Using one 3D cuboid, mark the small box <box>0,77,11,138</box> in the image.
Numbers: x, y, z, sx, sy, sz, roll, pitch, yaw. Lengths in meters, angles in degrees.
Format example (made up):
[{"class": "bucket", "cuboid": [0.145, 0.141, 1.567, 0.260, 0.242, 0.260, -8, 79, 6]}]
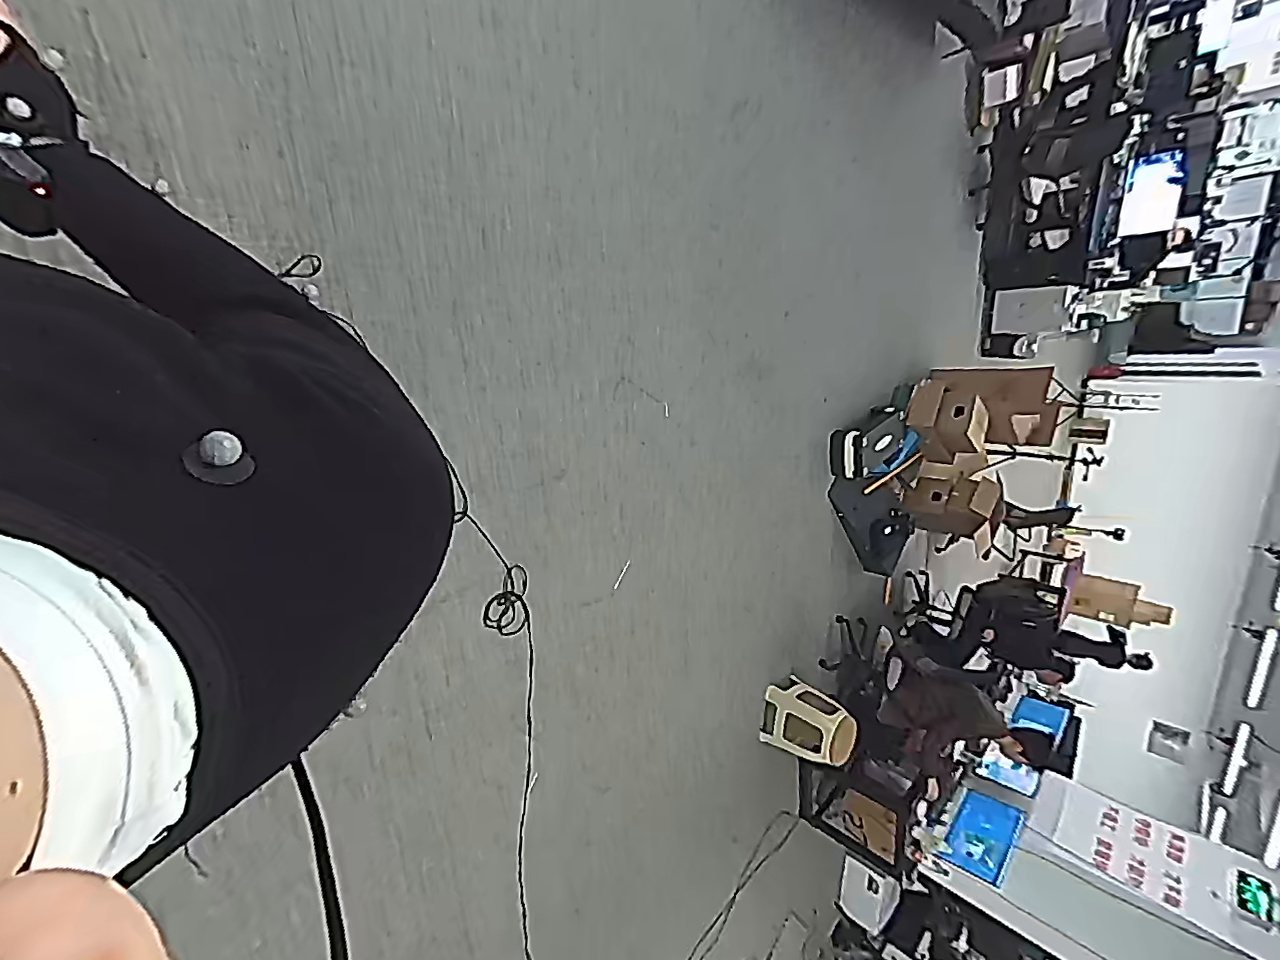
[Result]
[{"class": "small box", "cuboid": [-0.642, -0.386, 0.420, 0.179, 0.176, 0.168, -16, 109, -41]}]
